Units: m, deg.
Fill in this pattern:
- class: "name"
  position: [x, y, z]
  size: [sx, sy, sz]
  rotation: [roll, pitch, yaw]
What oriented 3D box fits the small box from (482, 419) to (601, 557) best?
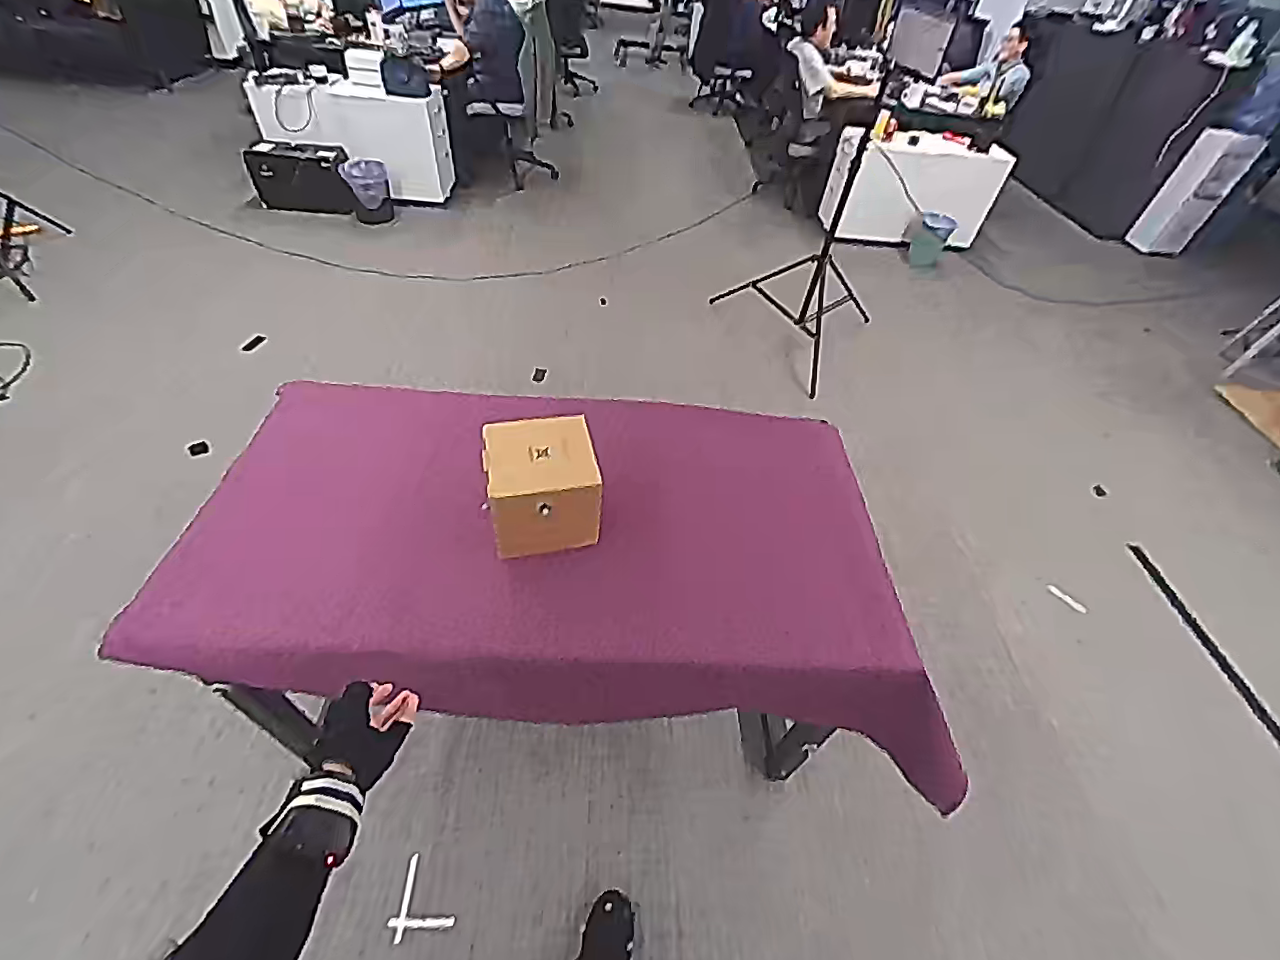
- class: "small box"
  position: [-0.170, 0.017, 0.941]
  size: [0.179, 0.176, 0.168]
  rotation: [-8, 49, -14]
